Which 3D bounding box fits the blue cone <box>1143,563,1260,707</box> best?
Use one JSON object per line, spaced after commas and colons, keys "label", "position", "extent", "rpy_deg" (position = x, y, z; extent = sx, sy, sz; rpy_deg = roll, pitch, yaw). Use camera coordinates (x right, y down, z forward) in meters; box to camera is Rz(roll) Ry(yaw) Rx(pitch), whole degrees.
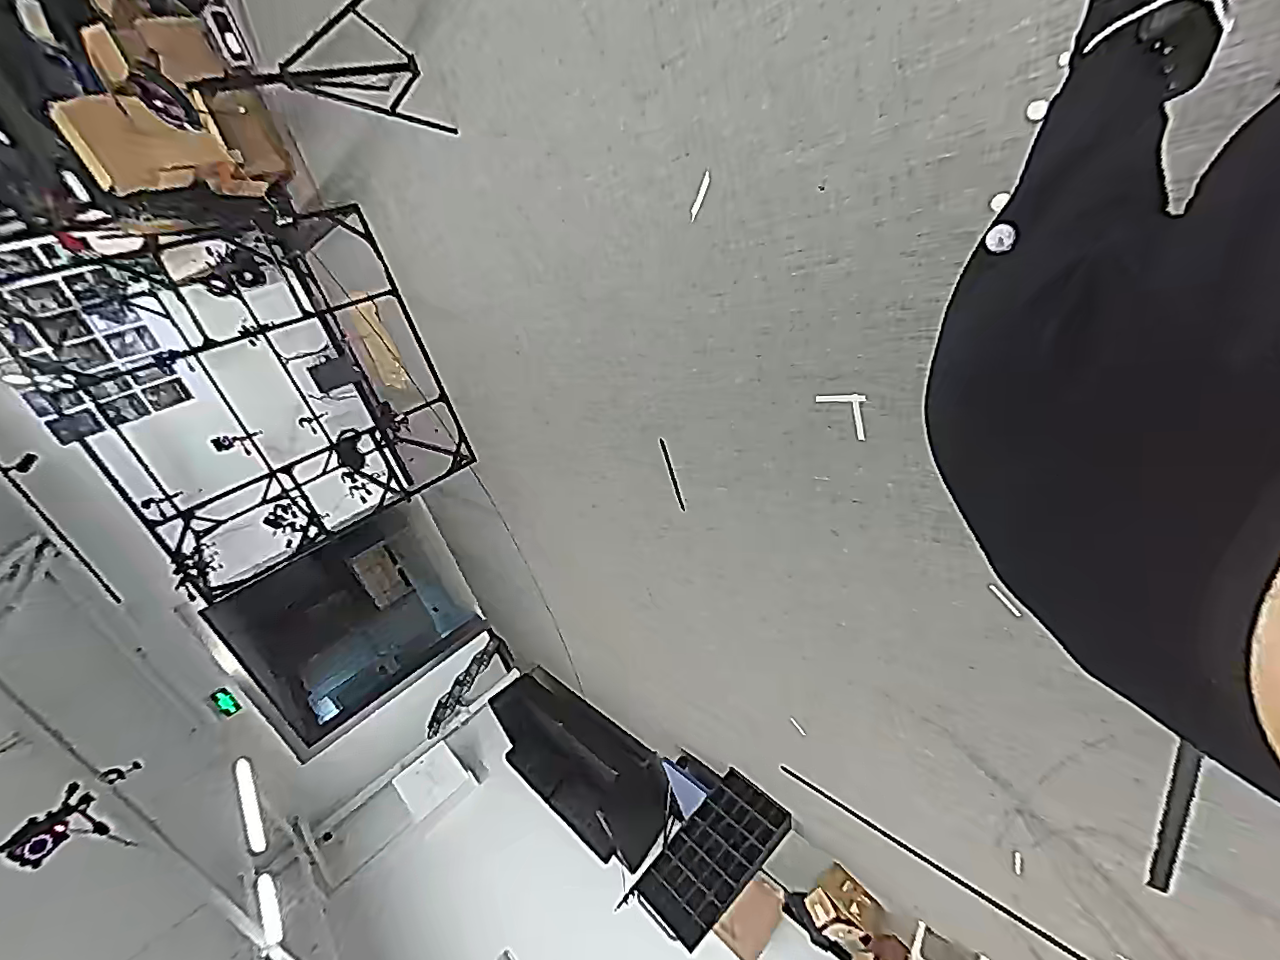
{"label": "blue cone", "position": [1.204, 0.364, 1.194], "extent": [0.192, 0.380, 0.193], "rpy_deg": [9, 125, 51]}
